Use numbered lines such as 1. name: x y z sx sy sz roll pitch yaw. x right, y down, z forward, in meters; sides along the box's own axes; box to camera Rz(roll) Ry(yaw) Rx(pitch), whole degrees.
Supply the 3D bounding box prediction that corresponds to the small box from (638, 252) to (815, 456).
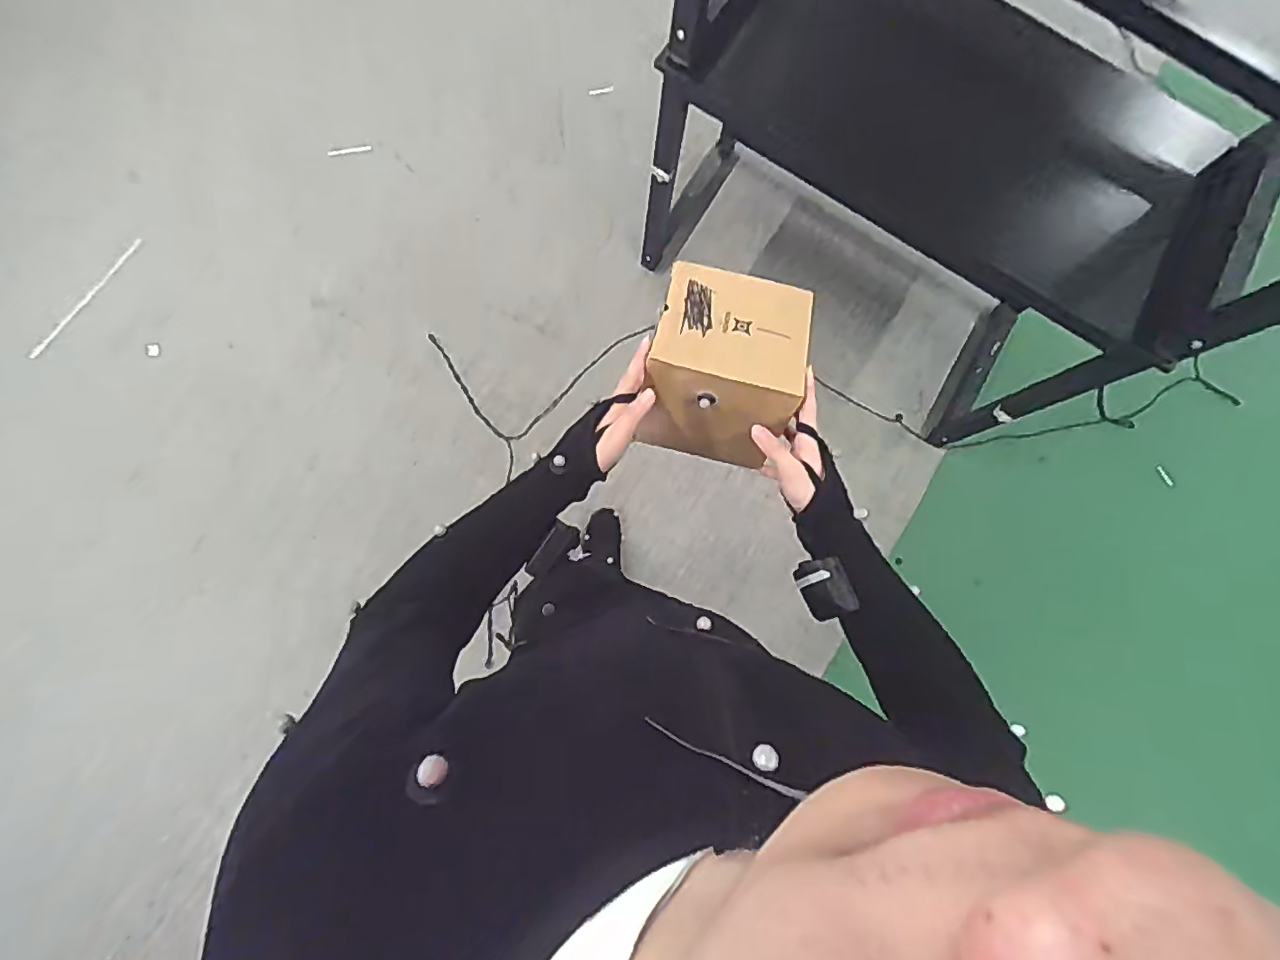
1. small box: 0.101 -0.150 0.683 0.179 0.176 0.168 14 62 1
